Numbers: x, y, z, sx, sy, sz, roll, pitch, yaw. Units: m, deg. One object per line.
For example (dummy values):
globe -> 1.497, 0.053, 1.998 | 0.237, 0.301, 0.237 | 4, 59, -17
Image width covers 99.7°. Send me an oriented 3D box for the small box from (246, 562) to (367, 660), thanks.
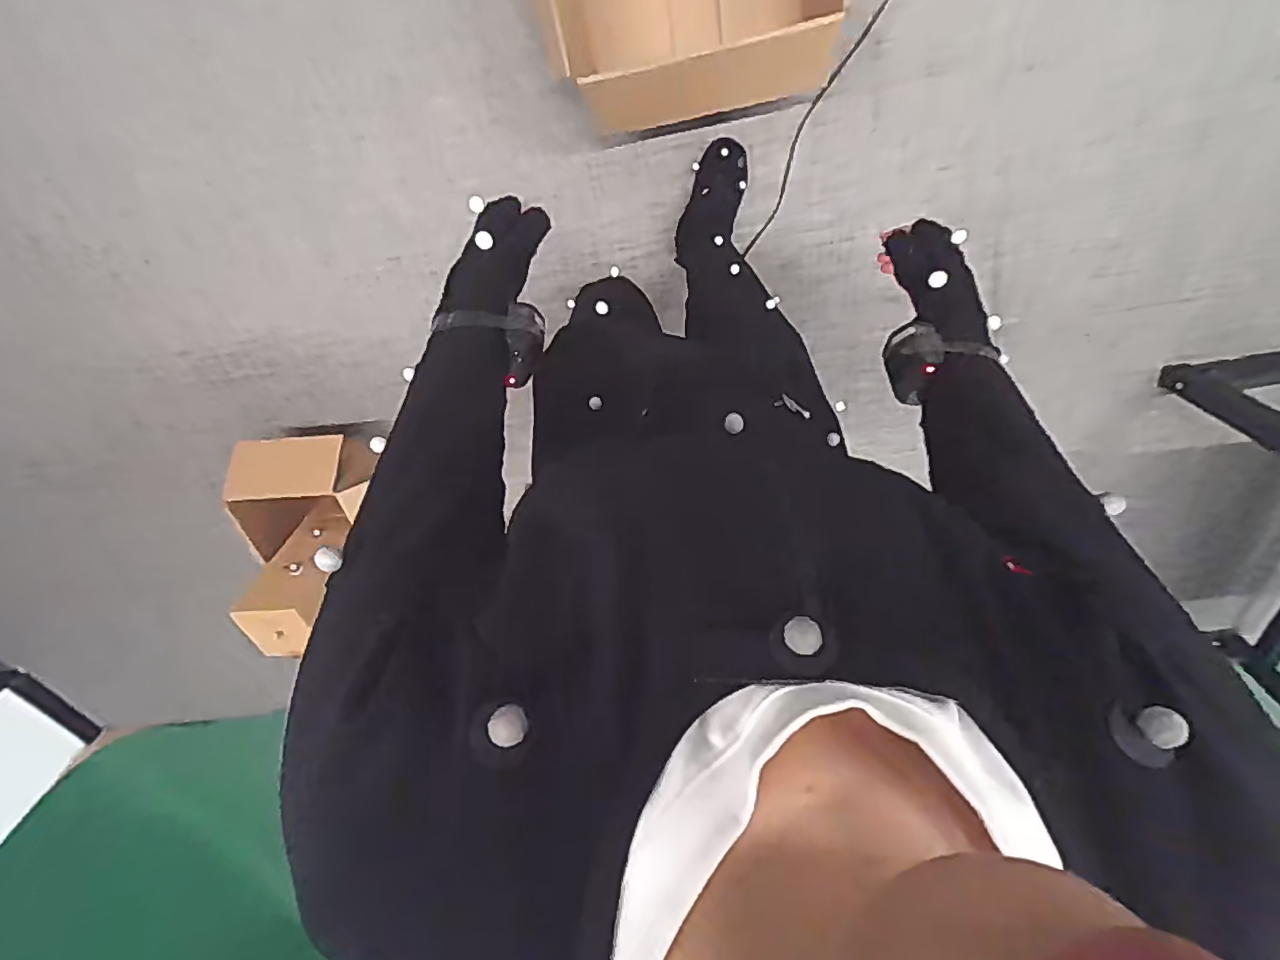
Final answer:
small box -> -0.832, 0.332, 1.373 | 0.168, 0.176, 0.179 | -5, 127, 5
